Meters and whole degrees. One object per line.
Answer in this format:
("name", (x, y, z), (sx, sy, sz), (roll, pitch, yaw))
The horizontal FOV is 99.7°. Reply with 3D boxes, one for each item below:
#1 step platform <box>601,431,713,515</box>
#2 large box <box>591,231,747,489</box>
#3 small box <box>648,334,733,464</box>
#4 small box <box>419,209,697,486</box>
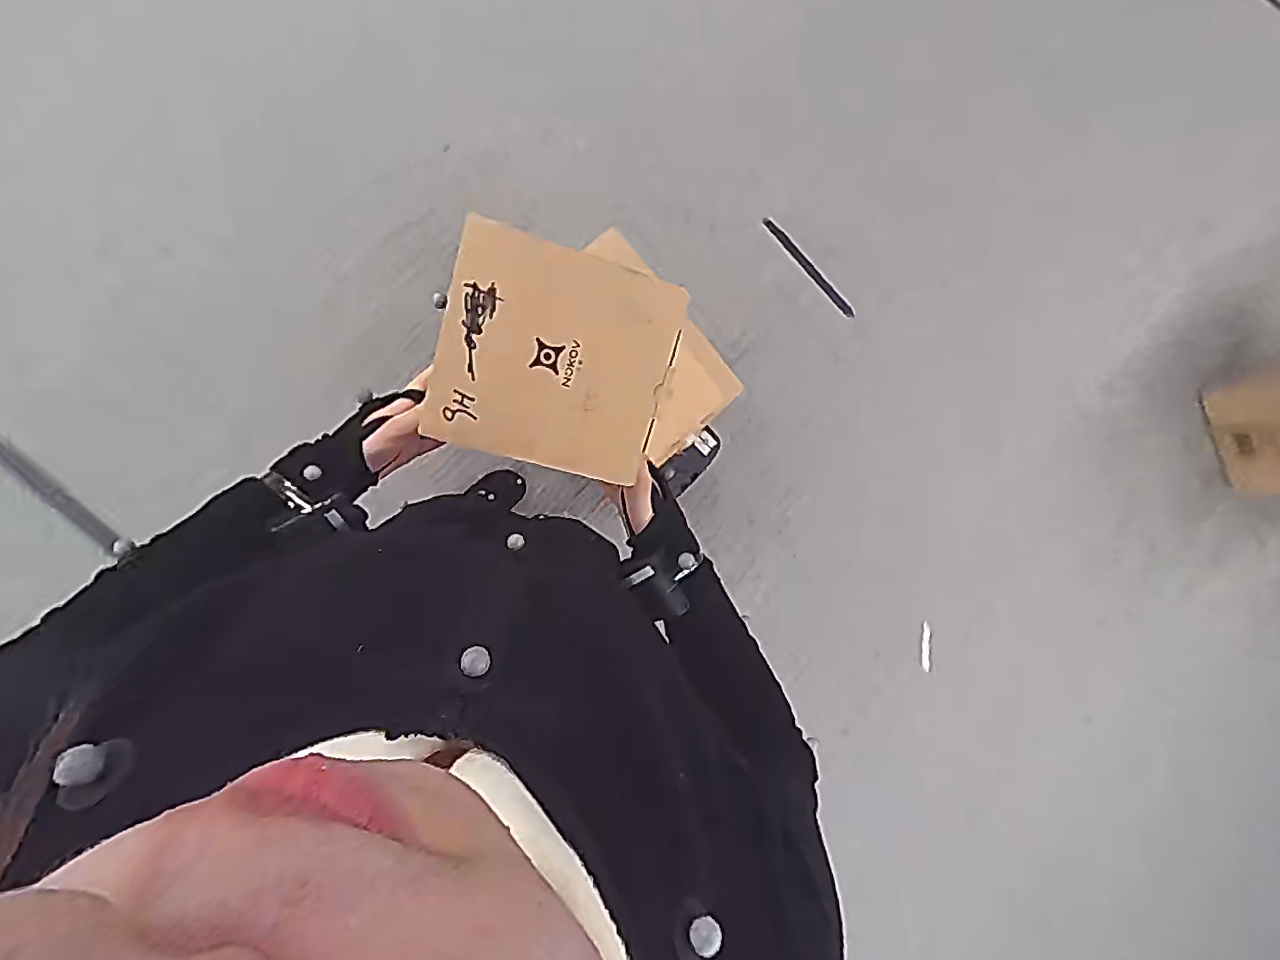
("step platform", (-0.115, -0.238, 1.401), (0.286, 0.204, 0.684), (-39, 97, -7))
("large box", (-0.050, -0.227, 1.171), (0.320, 0.320, 0.408), (-42, 97, -8))
("small box", (0.027, -0.145, 0.937), (0.168, 0.176, 0.179), (-38, 97, -7))
("small box", (-0.077, -0.108, 0.479), (0.179, 0.176, 0.168), (14, 98, -16))
